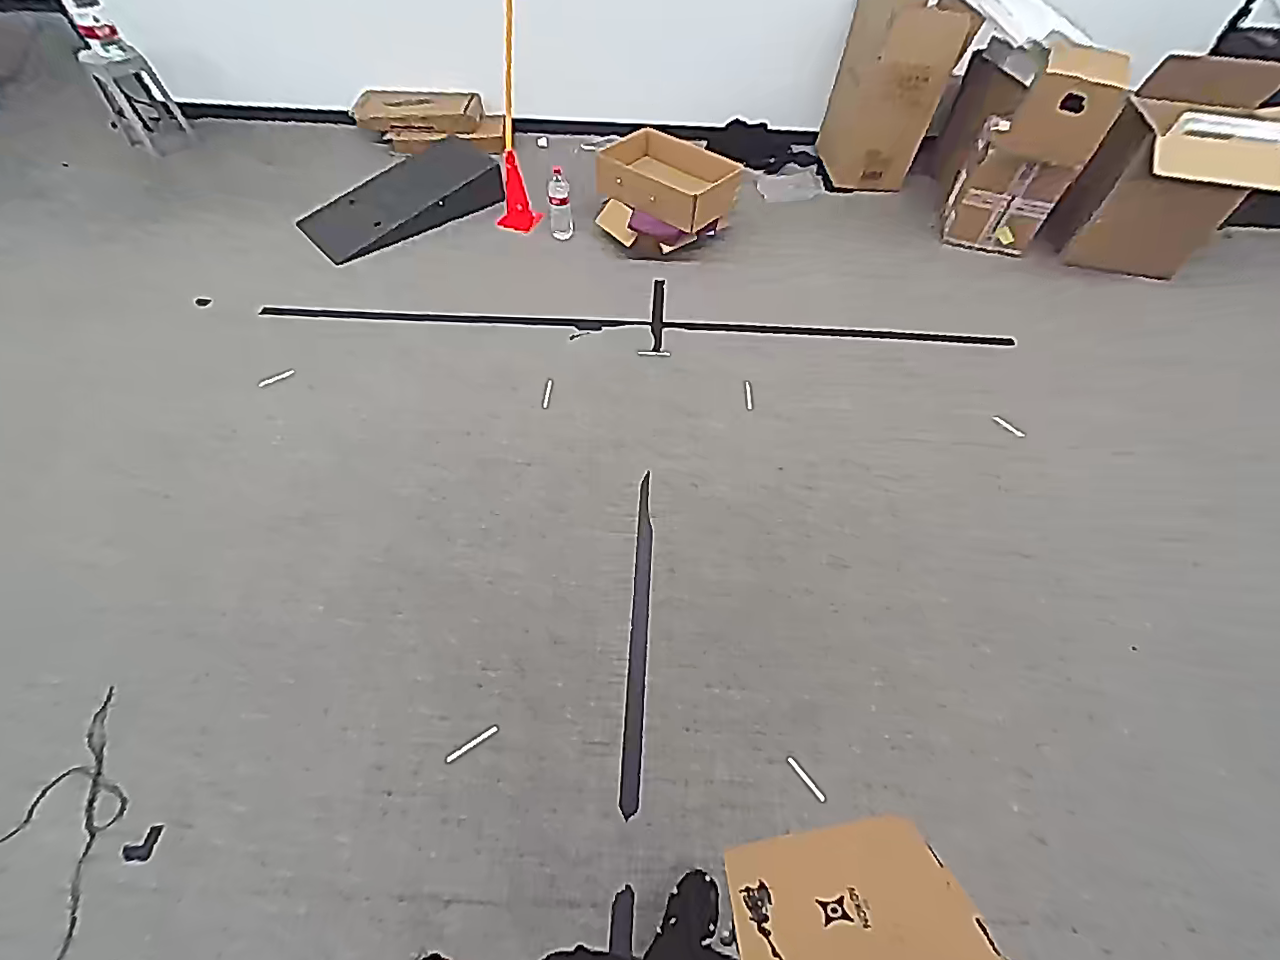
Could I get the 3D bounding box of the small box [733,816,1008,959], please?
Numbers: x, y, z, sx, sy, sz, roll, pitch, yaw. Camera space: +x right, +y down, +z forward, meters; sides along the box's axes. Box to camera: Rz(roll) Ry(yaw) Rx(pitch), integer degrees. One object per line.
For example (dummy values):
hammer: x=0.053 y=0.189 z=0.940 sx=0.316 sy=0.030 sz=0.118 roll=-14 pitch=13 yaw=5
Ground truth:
small box: x=0.185 y=0.419 z=0.436 sx=0.179 sy=0.168 sz=0.176 roll=-12 pitch=94 yaw=2
